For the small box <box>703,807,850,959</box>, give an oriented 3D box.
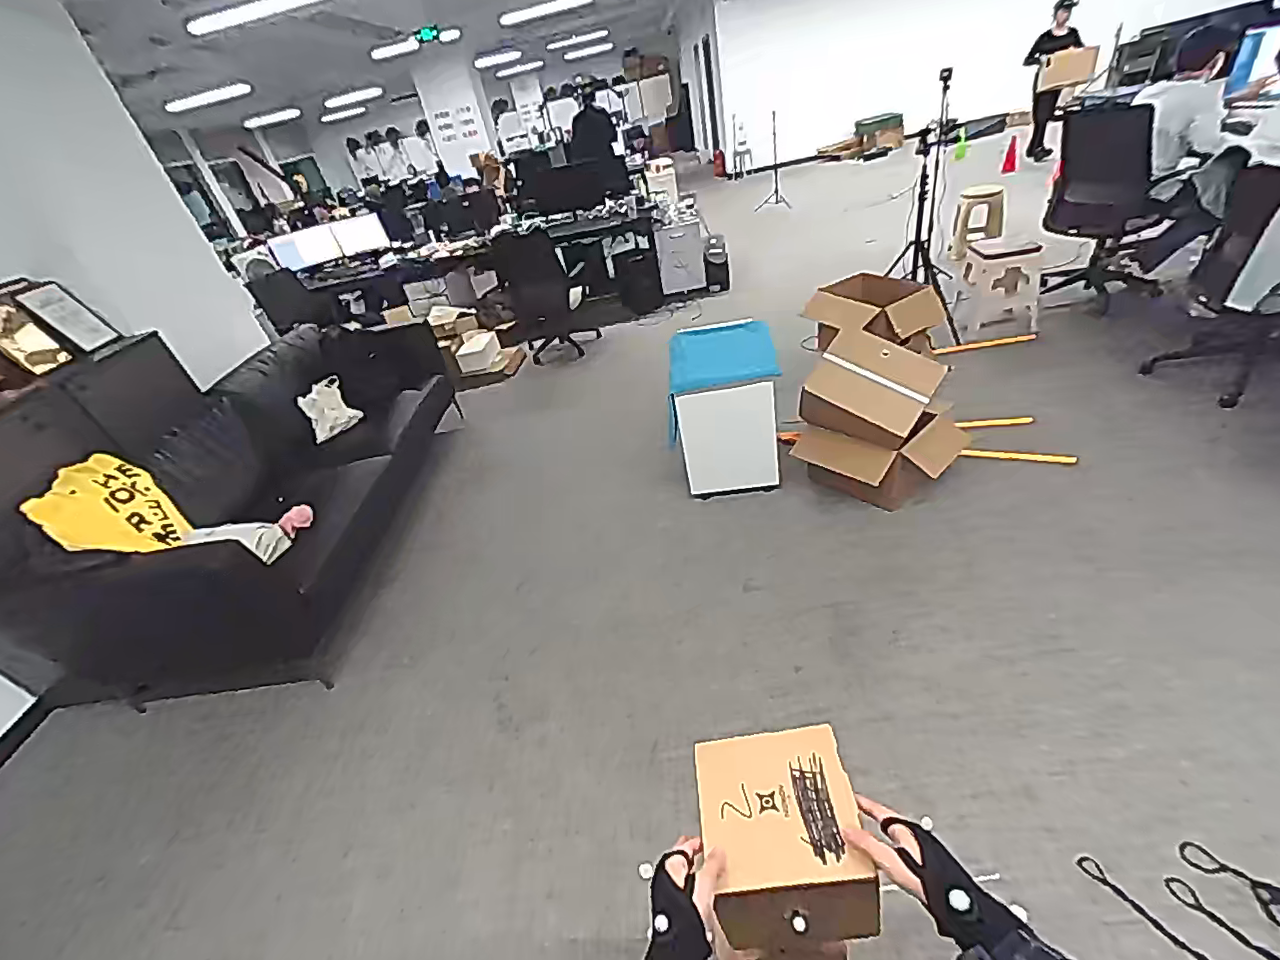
[{"bbox_3d":[0.194,0.618,0.792,0.168,0.176,0.179,-12,36,5],"label":"small box"}]
